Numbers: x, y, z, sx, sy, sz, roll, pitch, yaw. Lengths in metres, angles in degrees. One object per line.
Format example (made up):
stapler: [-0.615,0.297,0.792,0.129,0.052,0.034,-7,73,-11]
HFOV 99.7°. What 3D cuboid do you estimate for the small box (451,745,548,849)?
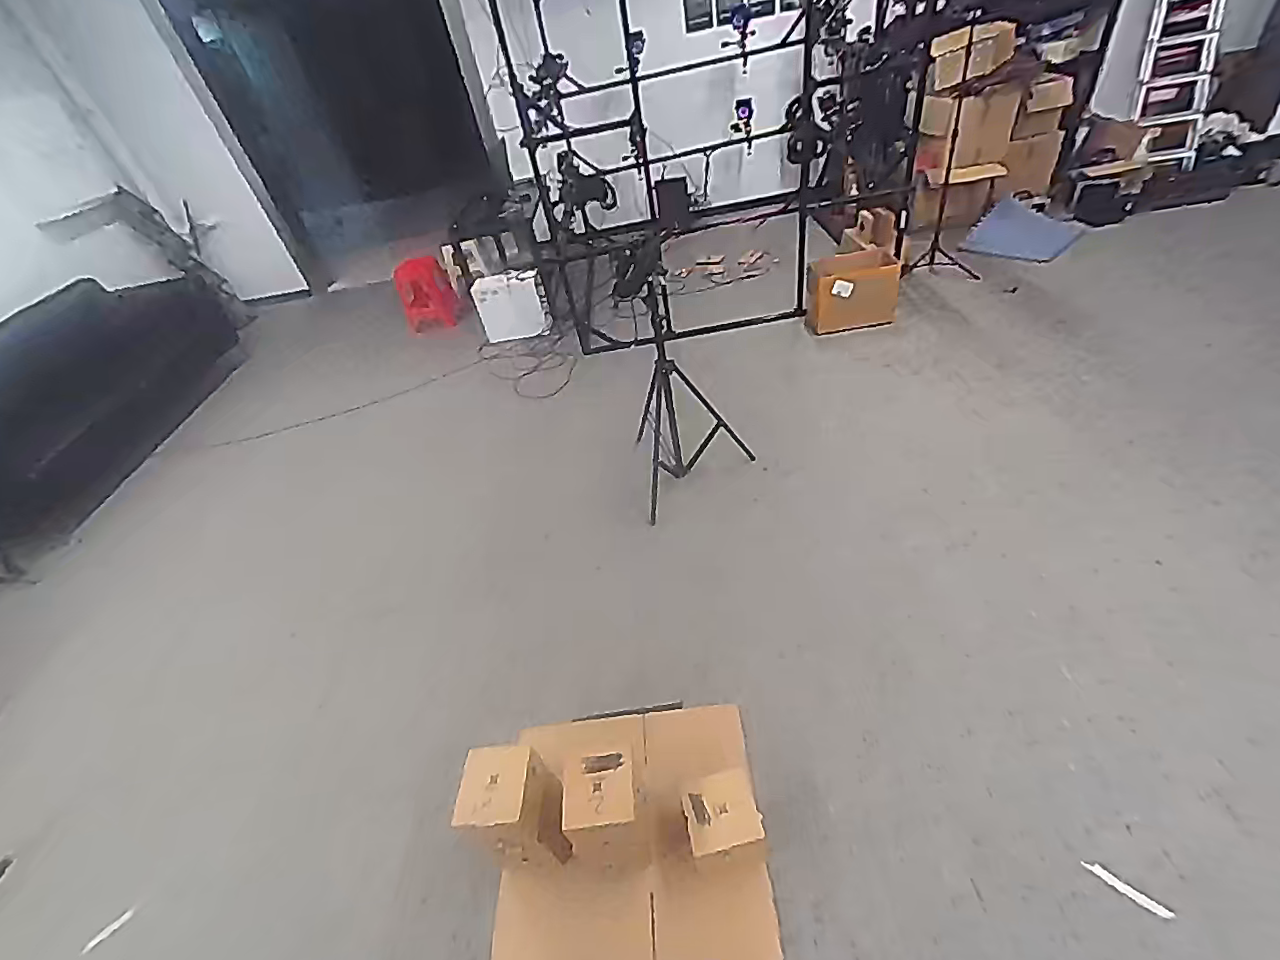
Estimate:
small box: [-0.334,0.779,1.329,0.168,0.176,0.179,-8,41,8]

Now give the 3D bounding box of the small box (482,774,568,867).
small box: [-0.295,0.904,1.430,0.168,0.176,0.179,-8,42,7]

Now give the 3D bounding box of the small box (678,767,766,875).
small box: [0.206,0.856,1.351,0.179,0.176,0.168,-15,41,-2]

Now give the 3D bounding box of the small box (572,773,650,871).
small box: [-0.068,0.882,1.395,0.168,0.176,0.179,-7,41,7]
